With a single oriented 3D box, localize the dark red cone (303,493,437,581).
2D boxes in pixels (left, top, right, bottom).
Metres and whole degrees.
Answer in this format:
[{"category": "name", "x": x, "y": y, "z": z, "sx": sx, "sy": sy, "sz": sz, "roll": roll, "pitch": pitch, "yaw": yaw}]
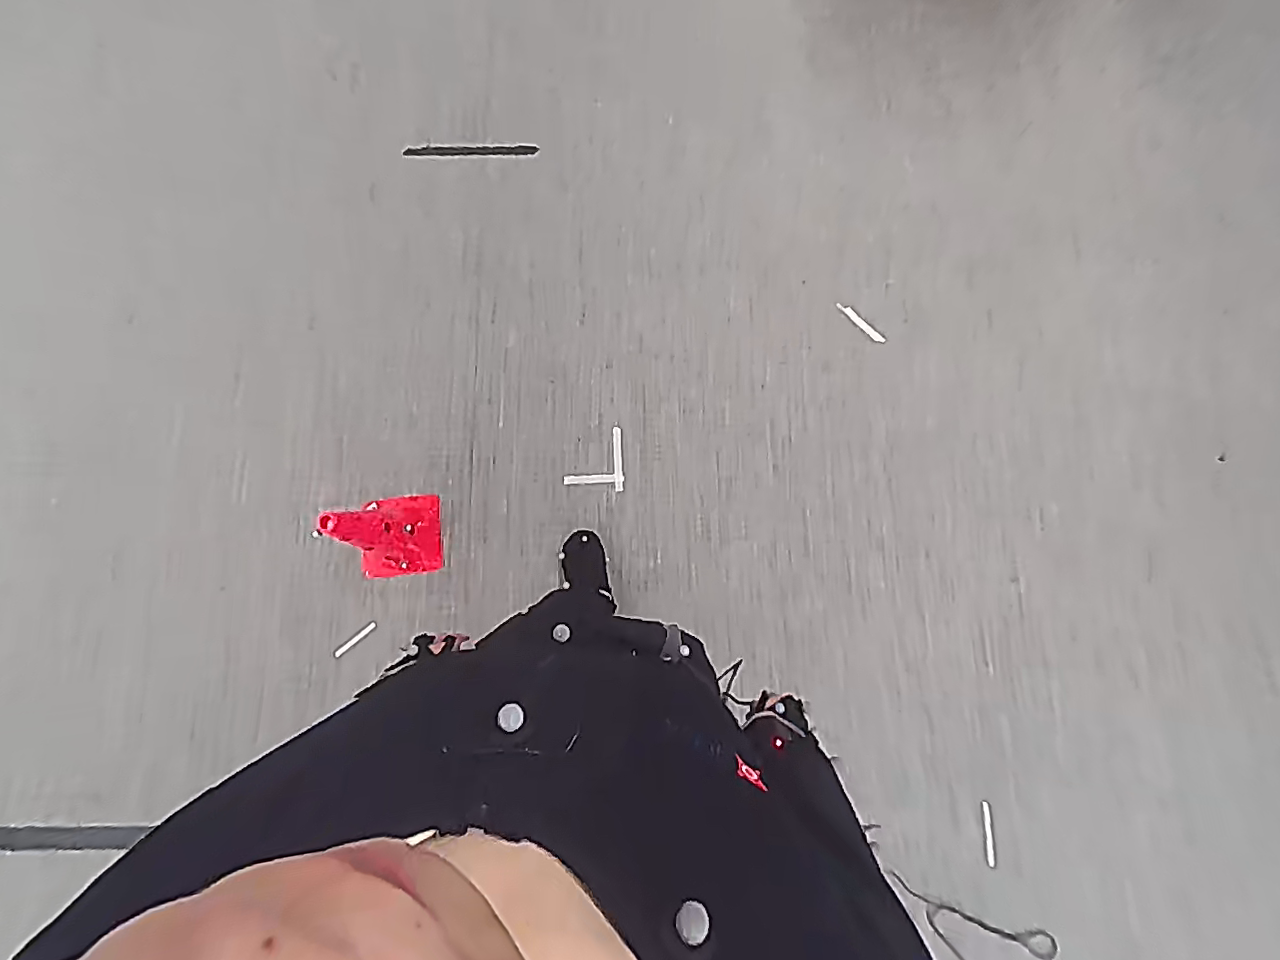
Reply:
[{"category": "dark red cone", "x": -0.602, "y": 0.115, "z": 1.172, "sx": 0.202, "sy": 0.394, "sz": 0.201, "roll": -7, "pitch": 81, "yaw": -2}]
